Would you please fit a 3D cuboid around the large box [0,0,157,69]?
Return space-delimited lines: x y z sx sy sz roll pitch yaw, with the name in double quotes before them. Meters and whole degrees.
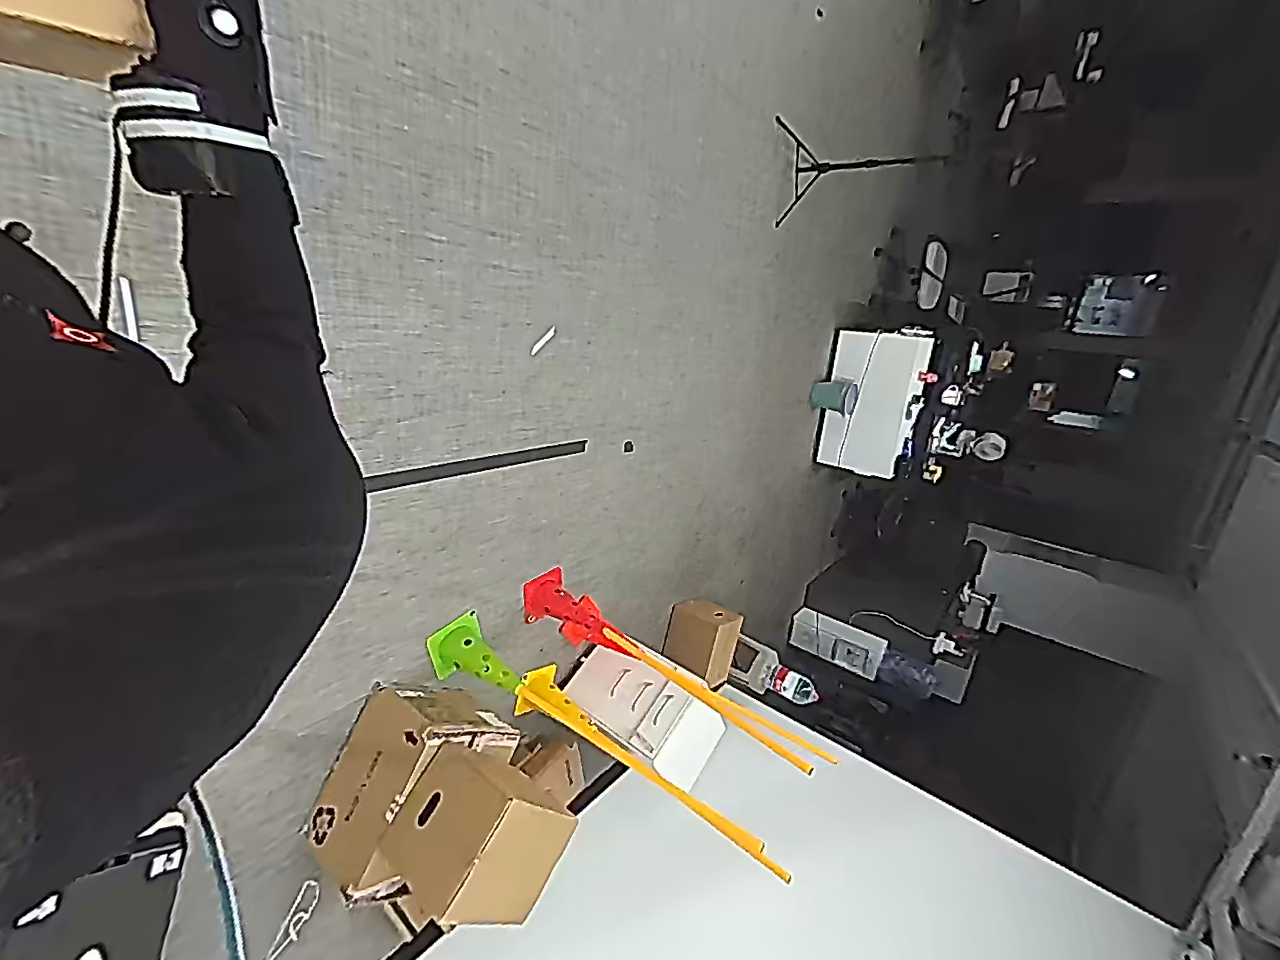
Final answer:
"large box" -0.541 -0.437 0.243 0.408 0.320 0.320 -18 126 -44
